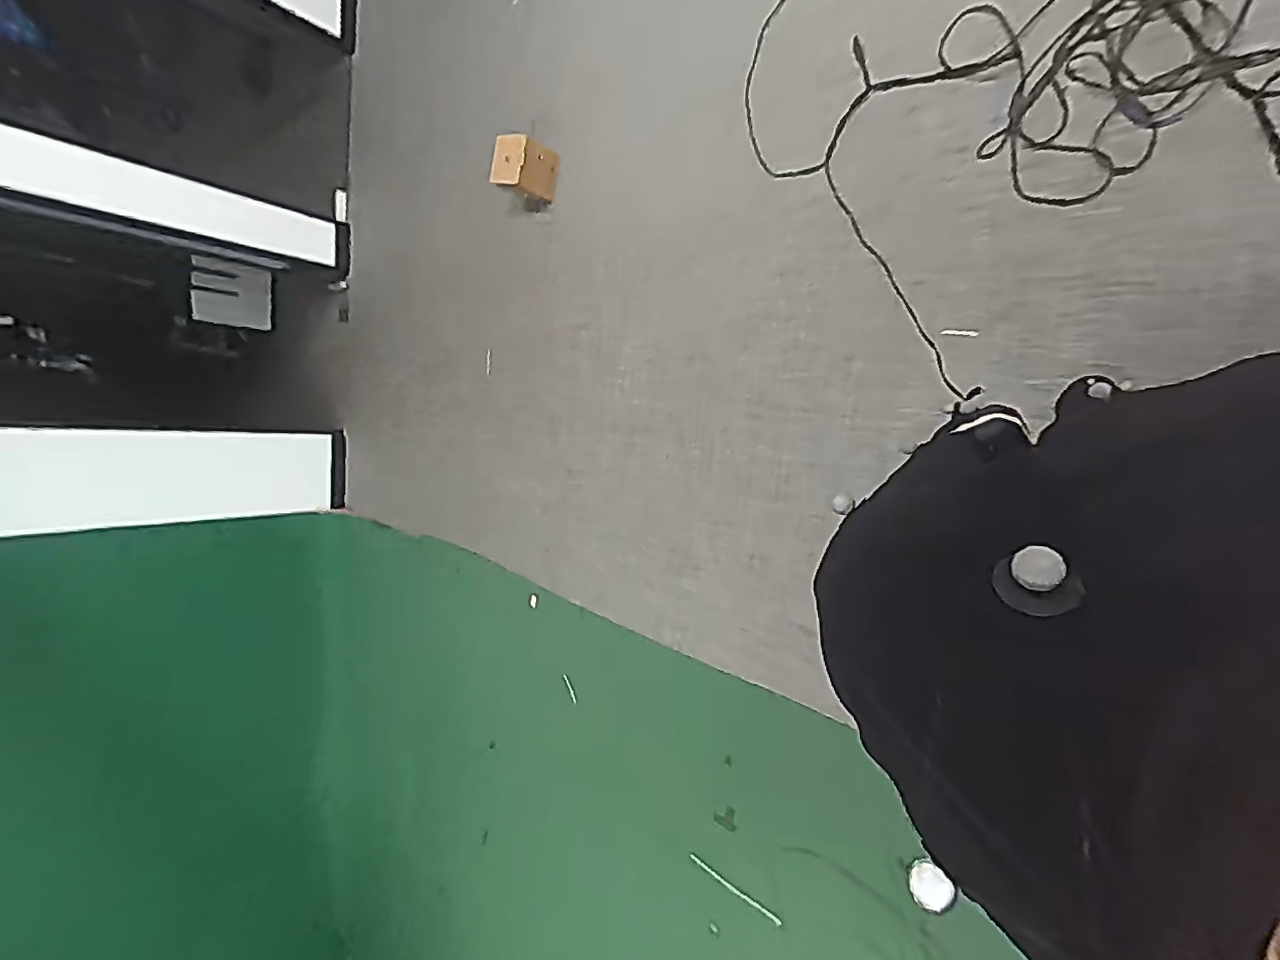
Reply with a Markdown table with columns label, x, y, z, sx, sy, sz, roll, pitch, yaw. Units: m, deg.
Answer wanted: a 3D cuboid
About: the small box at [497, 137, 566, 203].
| label | x | y | z | sx | sy | sz | roll | pitch | yaw |
| --- | --- | --- | --- | --- | --- | --- | --- | --- | --- |
| small box | -0.400 | -1.144 | 2.002 | 0.179 | 0.176 | 0.168 | 25 | 106 | 37 |
